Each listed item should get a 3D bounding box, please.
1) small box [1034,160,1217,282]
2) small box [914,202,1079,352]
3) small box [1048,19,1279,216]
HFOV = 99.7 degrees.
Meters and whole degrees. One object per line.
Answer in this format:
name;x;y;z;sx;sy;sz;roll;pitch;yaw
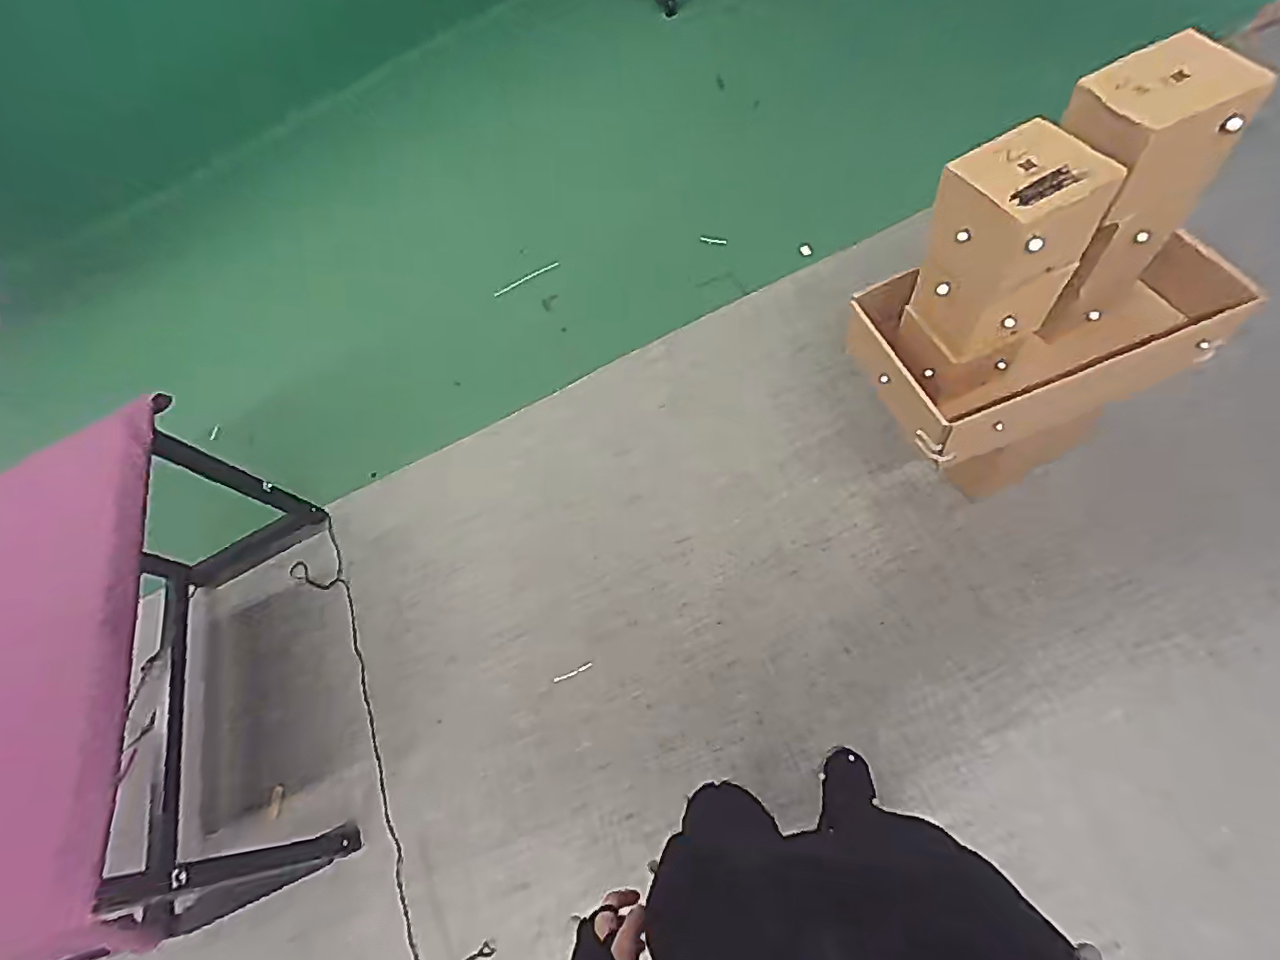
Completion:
small box;0.870;-0.507;1.002;0.179;0.176;0.168;-29;61;4
small box;0.645;-0.365;1.006;0.168;0.176;0.179;-25;61;3
small box;0.808;-0.566;0.859;0.179;0.176;0.168;-23;60;7
